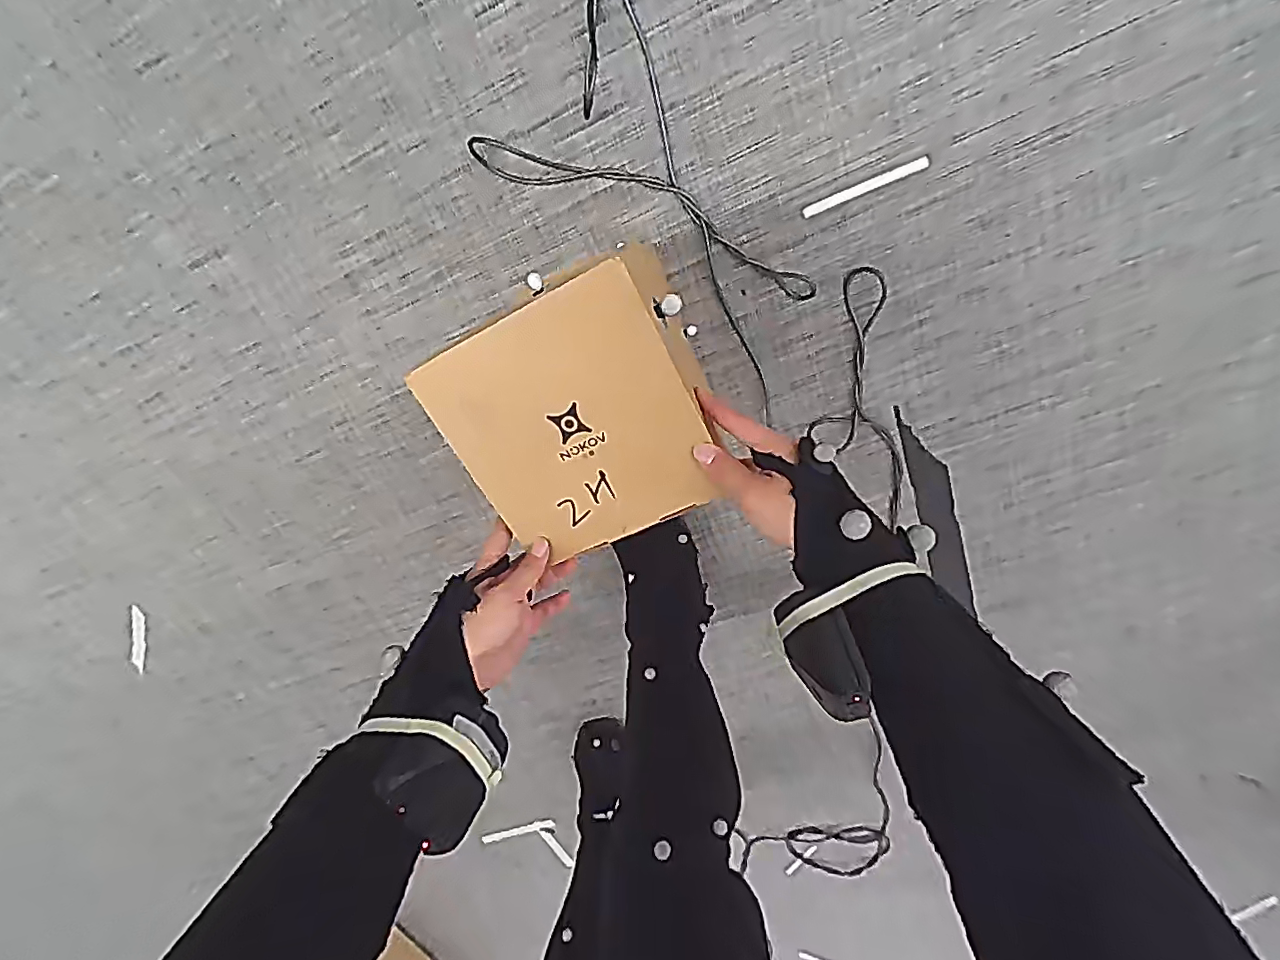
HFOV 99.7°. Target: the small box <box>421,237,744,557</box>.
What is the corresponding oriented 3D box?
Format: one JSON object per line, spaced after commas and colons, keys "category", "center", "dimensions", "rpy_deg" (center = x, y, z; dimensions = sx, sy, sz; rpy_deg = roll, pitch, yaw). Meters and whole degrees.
{"category": "small box", "center": [-0.032, -0.075, 0.438], "dimensions": [0.168, 0.176, 0.179], "rpy_deg": [-23, 113, 14]}
